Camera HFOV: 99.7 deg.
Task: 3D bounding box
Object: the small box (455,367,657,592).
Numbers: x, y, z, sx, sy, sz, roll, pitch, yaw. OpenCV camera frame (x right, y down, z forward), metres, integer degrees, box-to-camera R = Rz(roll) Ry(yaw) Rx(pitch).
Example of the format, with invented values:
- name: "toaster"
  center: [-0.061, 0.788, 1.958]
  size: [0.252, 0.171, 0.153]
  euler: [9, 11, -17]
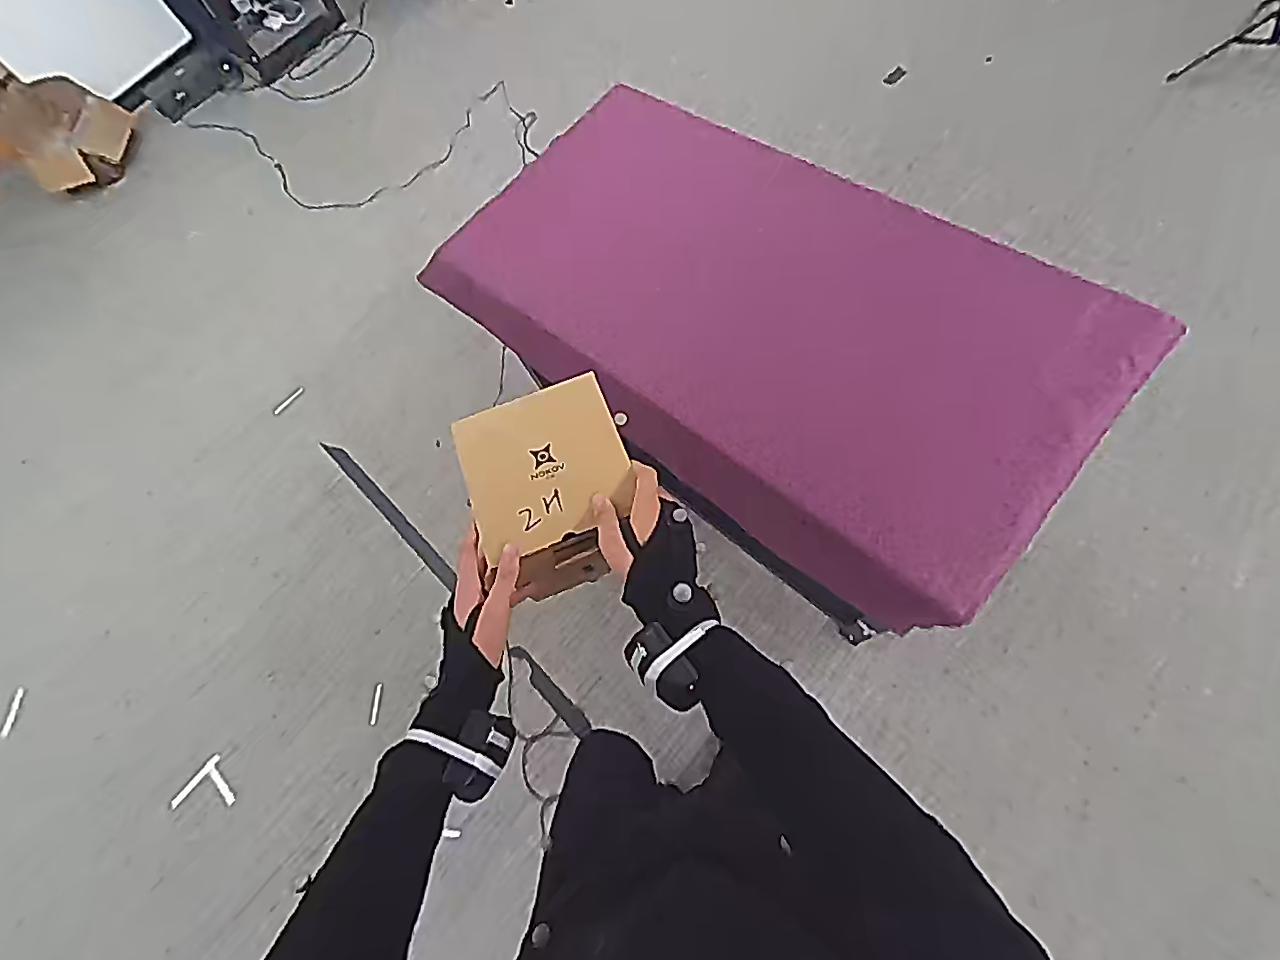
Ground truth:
- name: "small box"
  center: [-0.087, 0.008, 0.619]
  size: [0.168, 0.176, 0.179]
  euler: [-21, 68, -3]
